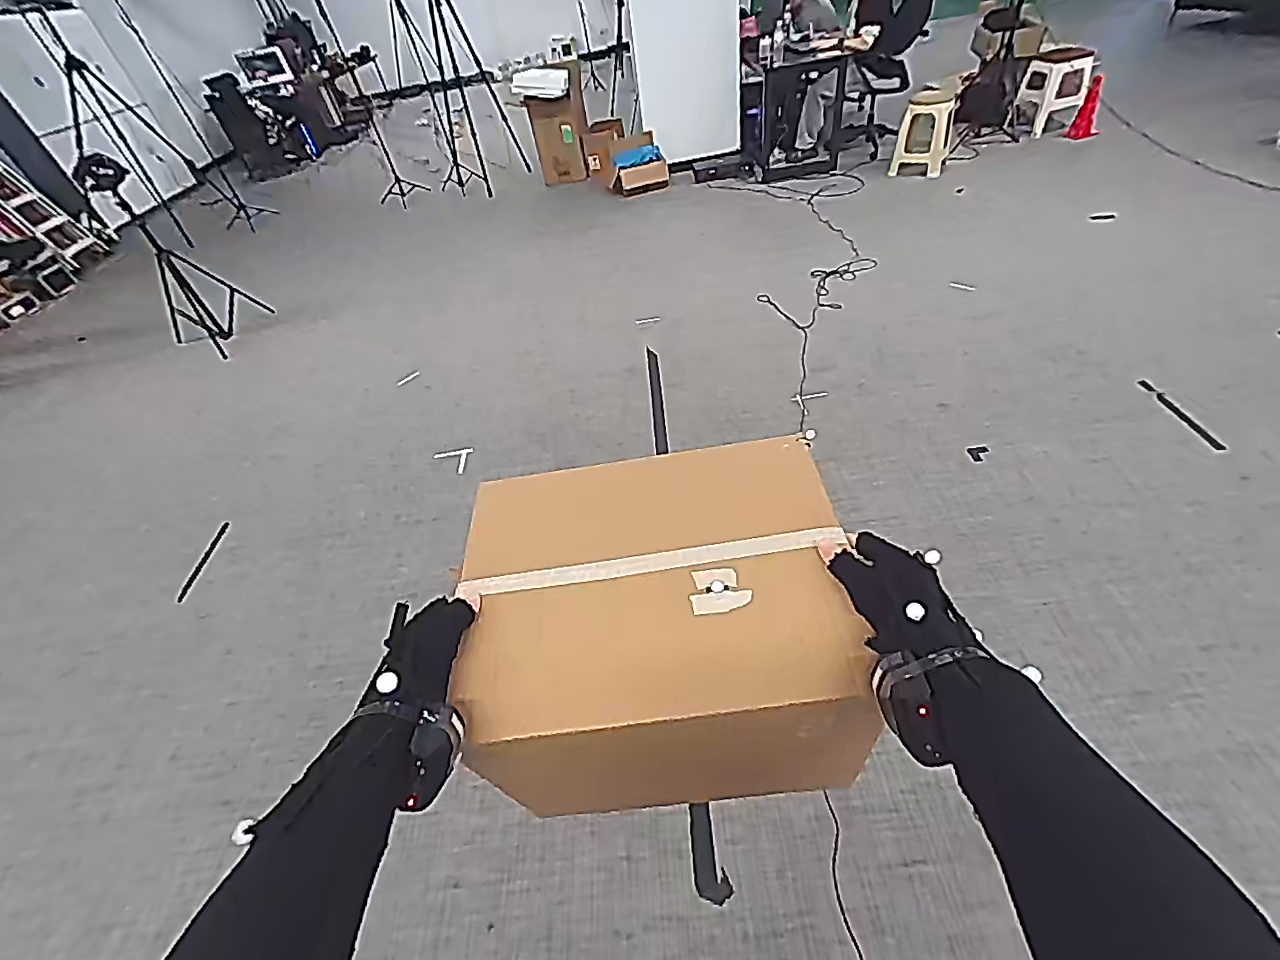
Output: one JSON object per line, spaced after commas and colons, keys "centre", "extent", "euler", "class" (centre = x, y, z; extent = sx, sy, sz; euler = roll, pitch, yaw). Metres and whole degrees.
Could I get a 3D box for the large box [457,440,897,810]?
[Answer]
{"centre": [0.036, 0.189, 0.684], "extent": [0.408, 0.320, 0.320], "euler": [-8, 48, 3], "class": "large box"}
